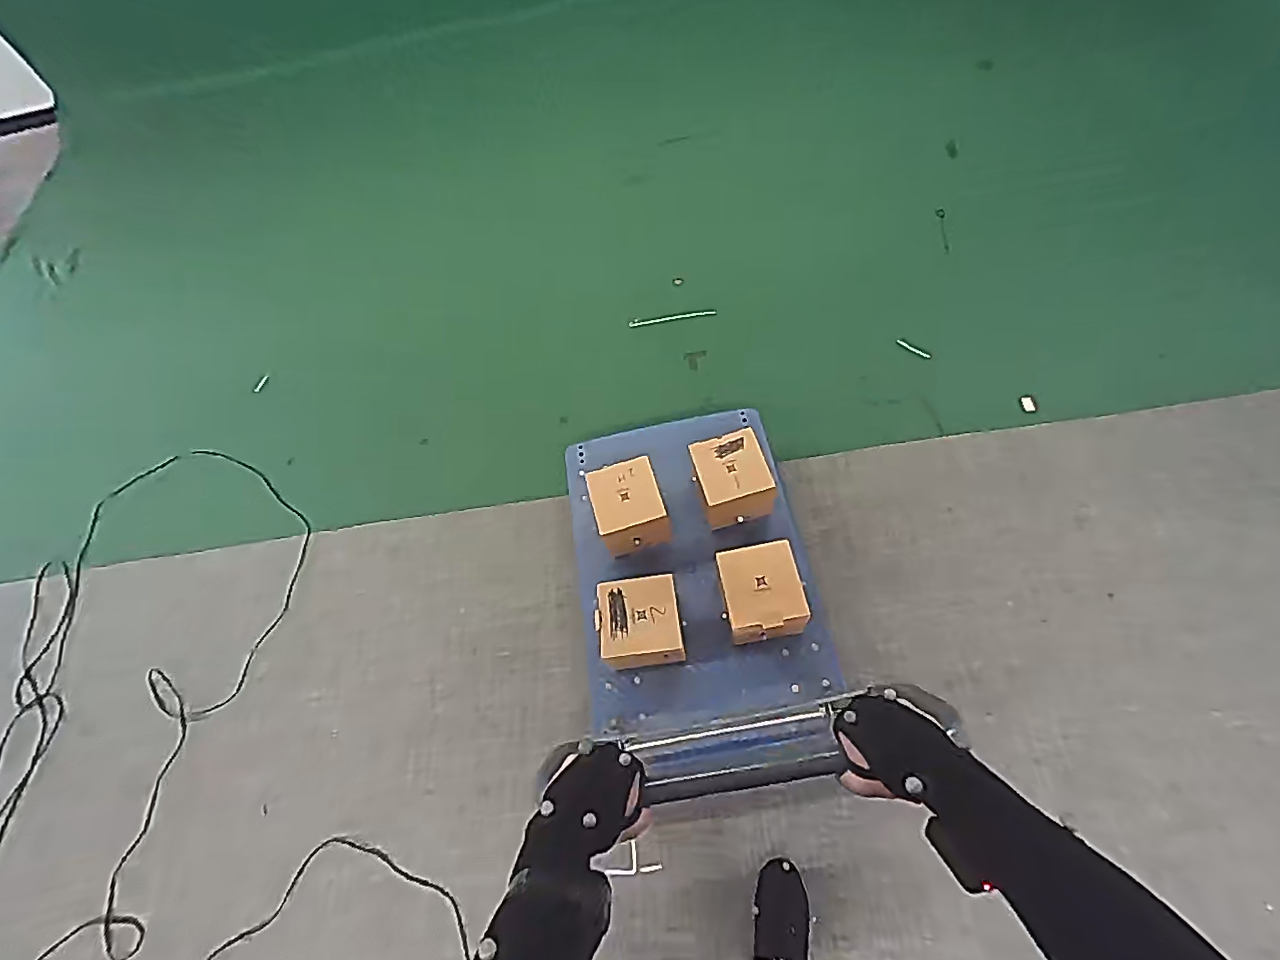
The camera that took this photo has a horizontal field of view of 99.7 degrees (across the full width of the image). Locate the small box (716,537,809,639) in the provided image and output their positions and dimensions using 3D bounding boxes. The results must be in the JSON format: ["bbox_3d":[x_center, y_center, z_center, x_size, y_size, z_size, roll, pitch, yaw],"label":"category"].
[{"bbox_3d":[0.272,0.252,1.244,0.168,0.176,0.179,-11,63,2],"label":"small box"}]

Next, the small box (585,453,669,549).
[{"bbox_3d":[-0.029,0.064,1.379,0.168,0.176,0.179,-17,63,-1],"label":"small box"}]

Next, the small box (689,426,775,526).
[{"bbox_3d":[0.228,-0.006,1.377,0.168,0.176,0.179,-16,64,1],"label":"small box"}]
